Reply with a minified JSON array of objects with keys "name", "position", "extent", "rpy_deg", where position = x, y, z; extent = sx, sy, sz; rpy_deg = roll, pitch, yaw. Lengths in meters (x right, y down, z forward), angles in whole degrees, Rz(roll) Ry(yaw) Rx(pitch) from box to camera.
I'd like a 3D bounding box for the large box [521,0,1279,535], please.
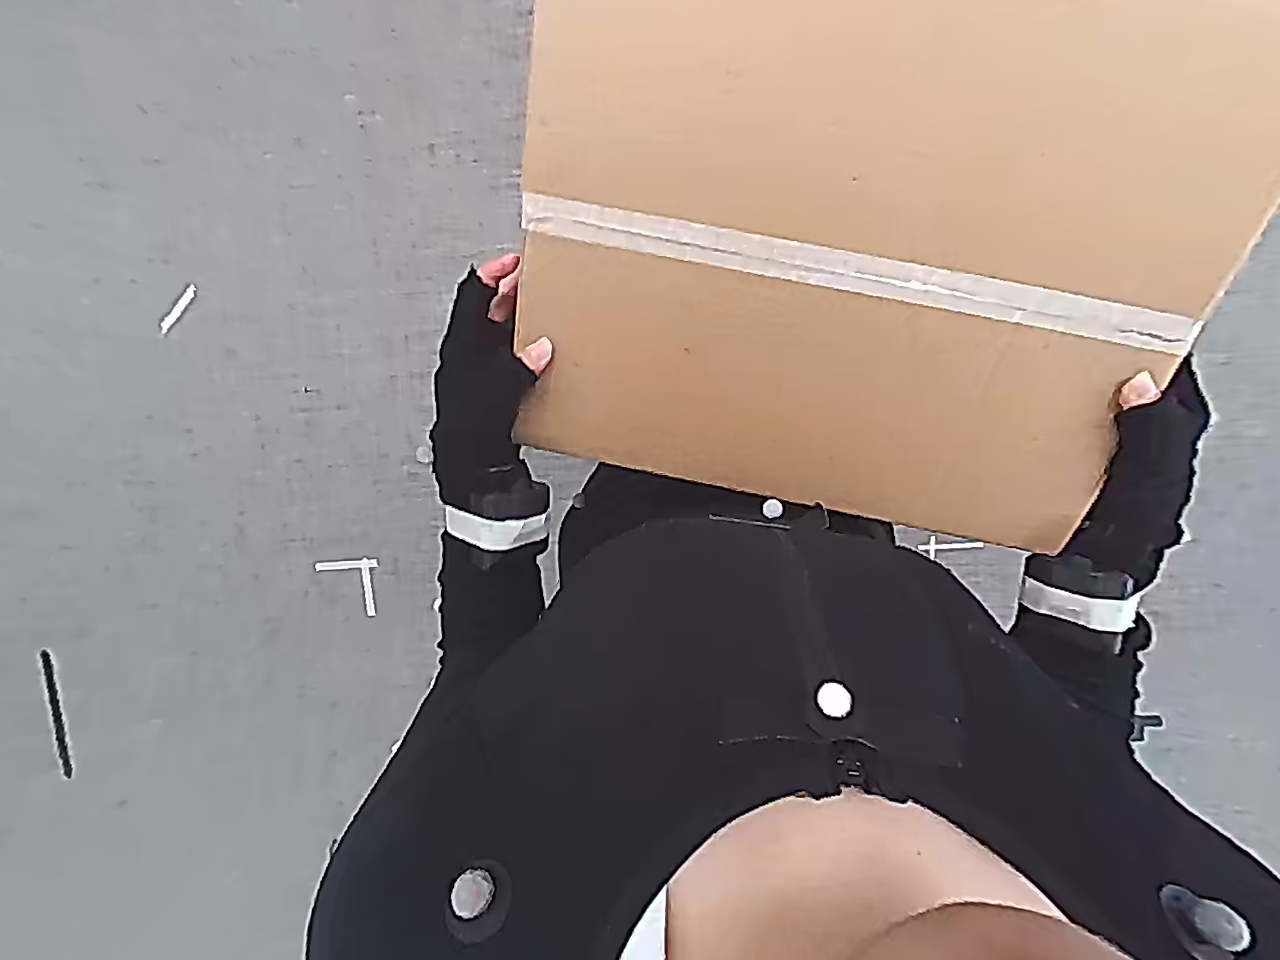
[{"name":"large box","position":[0.142,-0.195,0.469],"extent":[0.408,0.320,0.320],"rpy_deg":[12,118,1]}]
